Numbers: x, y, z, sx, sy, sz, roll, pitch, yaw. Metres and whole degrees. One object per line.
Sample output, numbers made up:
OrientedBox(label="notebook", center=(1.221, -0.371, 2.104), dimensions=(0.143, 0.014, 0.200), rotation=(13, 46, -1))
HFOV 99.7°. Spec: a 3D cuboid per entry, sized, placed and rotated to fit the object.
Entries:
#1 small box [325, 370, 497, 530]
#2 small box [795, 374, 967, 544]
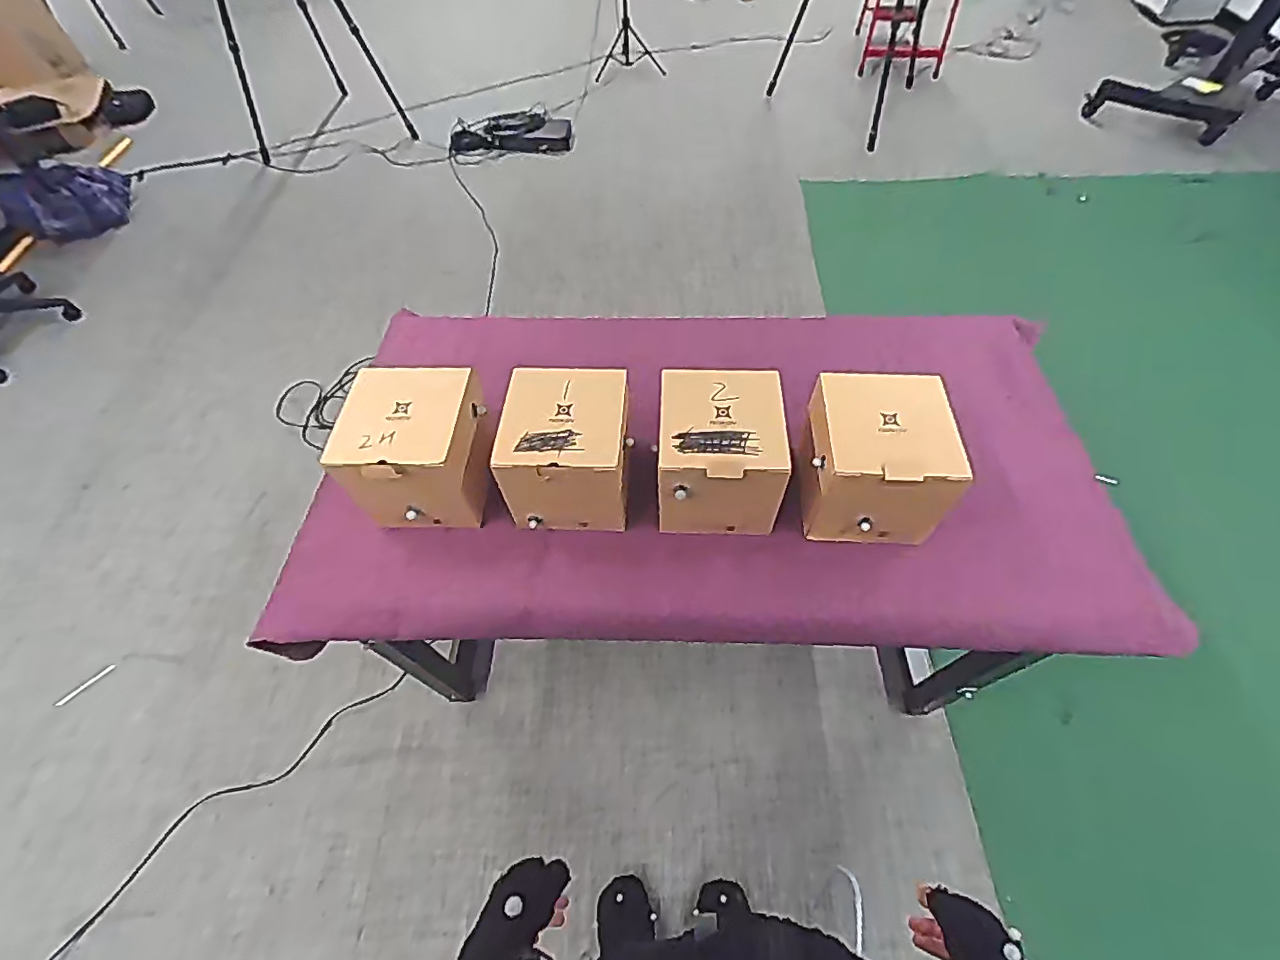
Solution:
OrientedBox(label="small box", center=(-0.323, -0.043, 0.809), dimensions=(0.168, 0.176, 0.179), rotation=(0, 56, 3))
OrientedBox(label="small box", center=(0.325, -0.028, 0.773), dimensions=(0.168, 0.176, 0.179), rotation=(2, 56, 4))
